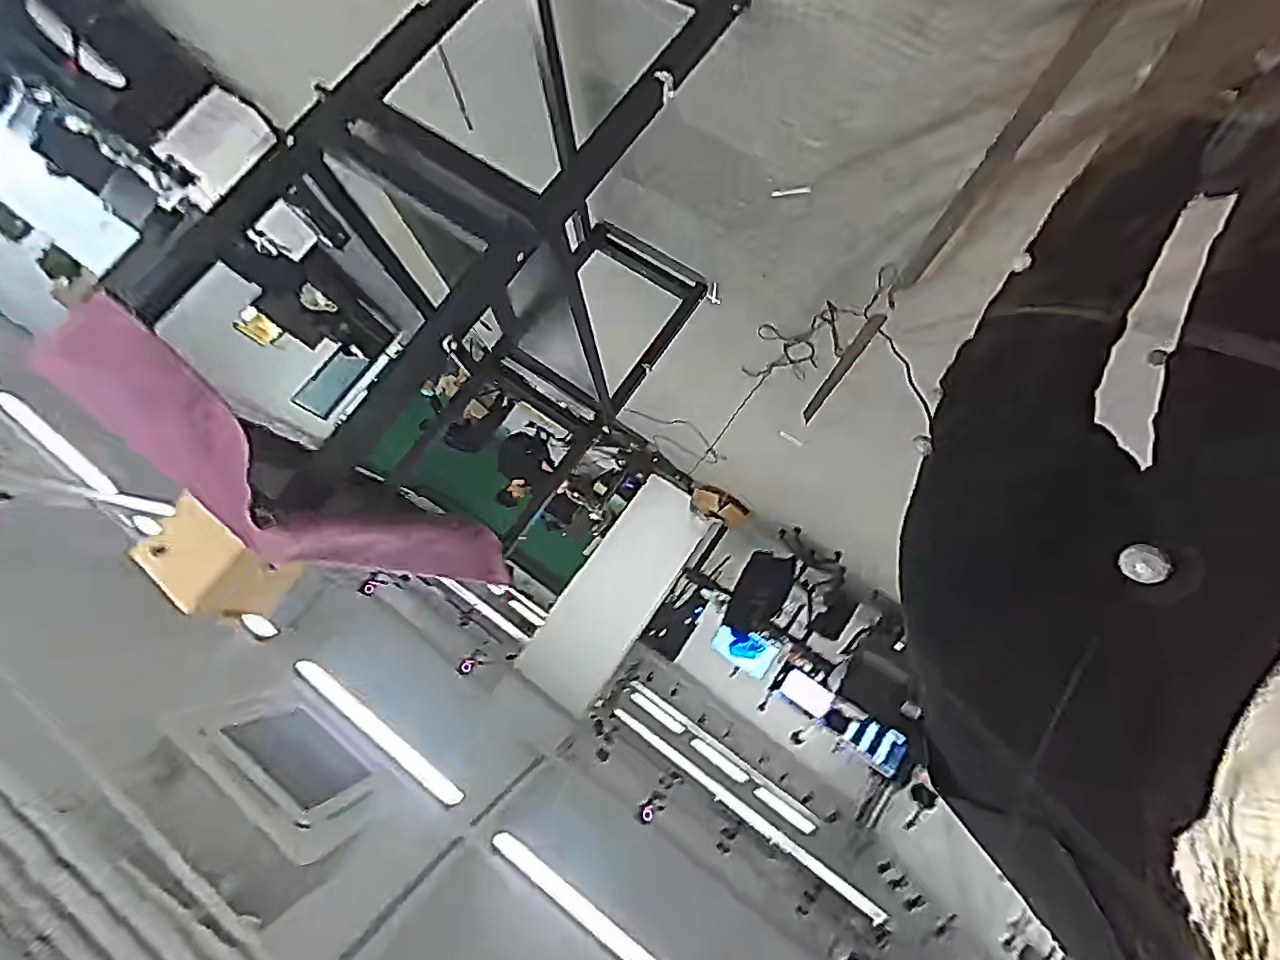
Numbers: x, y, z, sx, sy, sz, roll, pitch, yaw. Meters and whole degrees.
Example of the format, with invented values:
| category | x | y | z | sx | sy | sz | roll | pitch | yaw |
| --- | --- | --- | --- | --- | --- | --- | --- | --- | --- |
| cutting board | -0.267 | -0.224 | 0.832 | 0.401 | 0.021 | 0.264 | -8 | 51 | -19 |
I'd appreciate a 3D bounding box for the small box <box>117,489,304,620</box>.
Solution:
| category | x | y | z | sx | sy | sz | roll | pitch | yaw |
| --- | --- | --- | --- | --- | --- | --- | --- | --- | --- |
| small box | -0.770 | 0.132 | 0.988 | 0.179 | 0.176 | 0.168 | 34 | 171 | 17 |
